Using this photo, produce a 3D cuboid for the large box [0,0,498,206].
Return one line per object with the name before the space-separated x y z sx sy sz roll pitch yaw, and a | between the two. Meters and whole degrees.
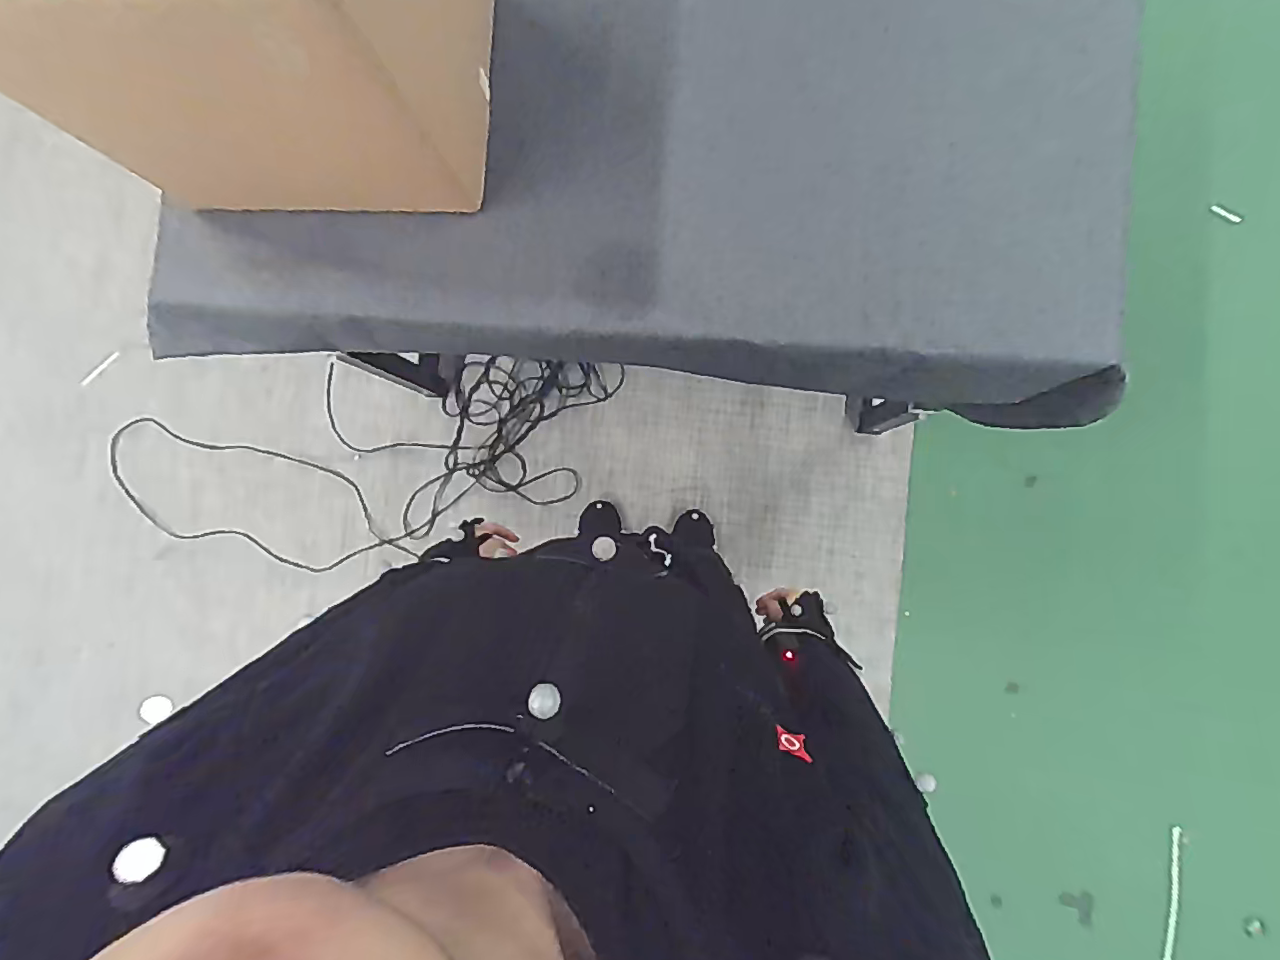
large box | -0.395 -0.513 0.558 0.408 0.320 0.320 2 88 3
